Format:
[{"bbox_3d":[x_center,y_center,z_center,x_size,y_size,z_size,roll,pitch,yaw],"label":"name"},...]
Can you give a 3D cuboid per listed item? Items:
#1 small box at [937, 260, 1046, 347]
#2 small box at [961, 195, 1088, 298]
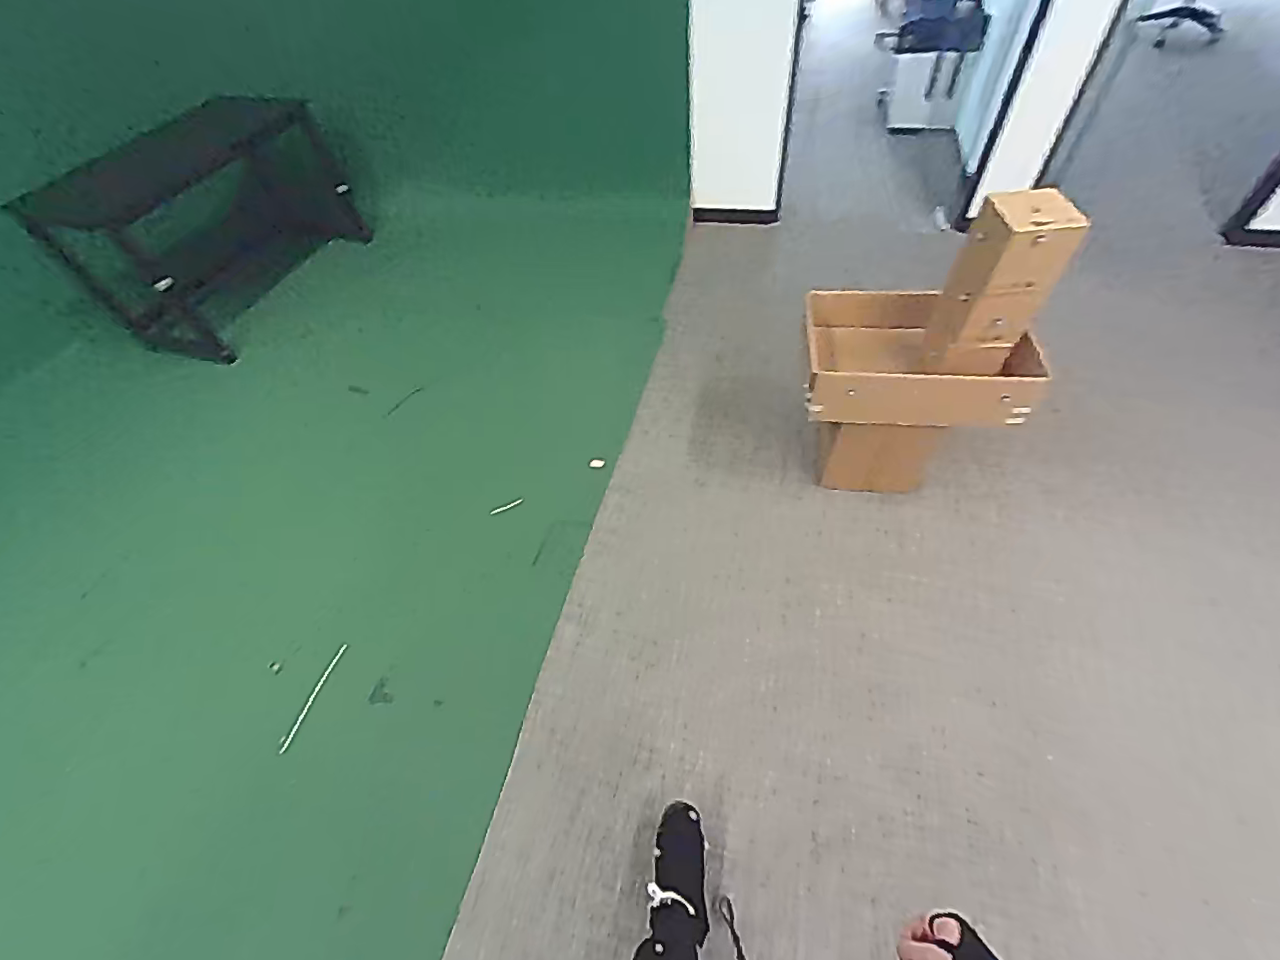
[{"bbox_3d":[0.932,-0.472,1.452,0.168,0.176,0.179,-1,53,4],"label":"small box"},{"bbox_3d":[0.922,-0.568,1.320,0.168,0.176,0.179,-4,52,3],"label":"small box"}]
